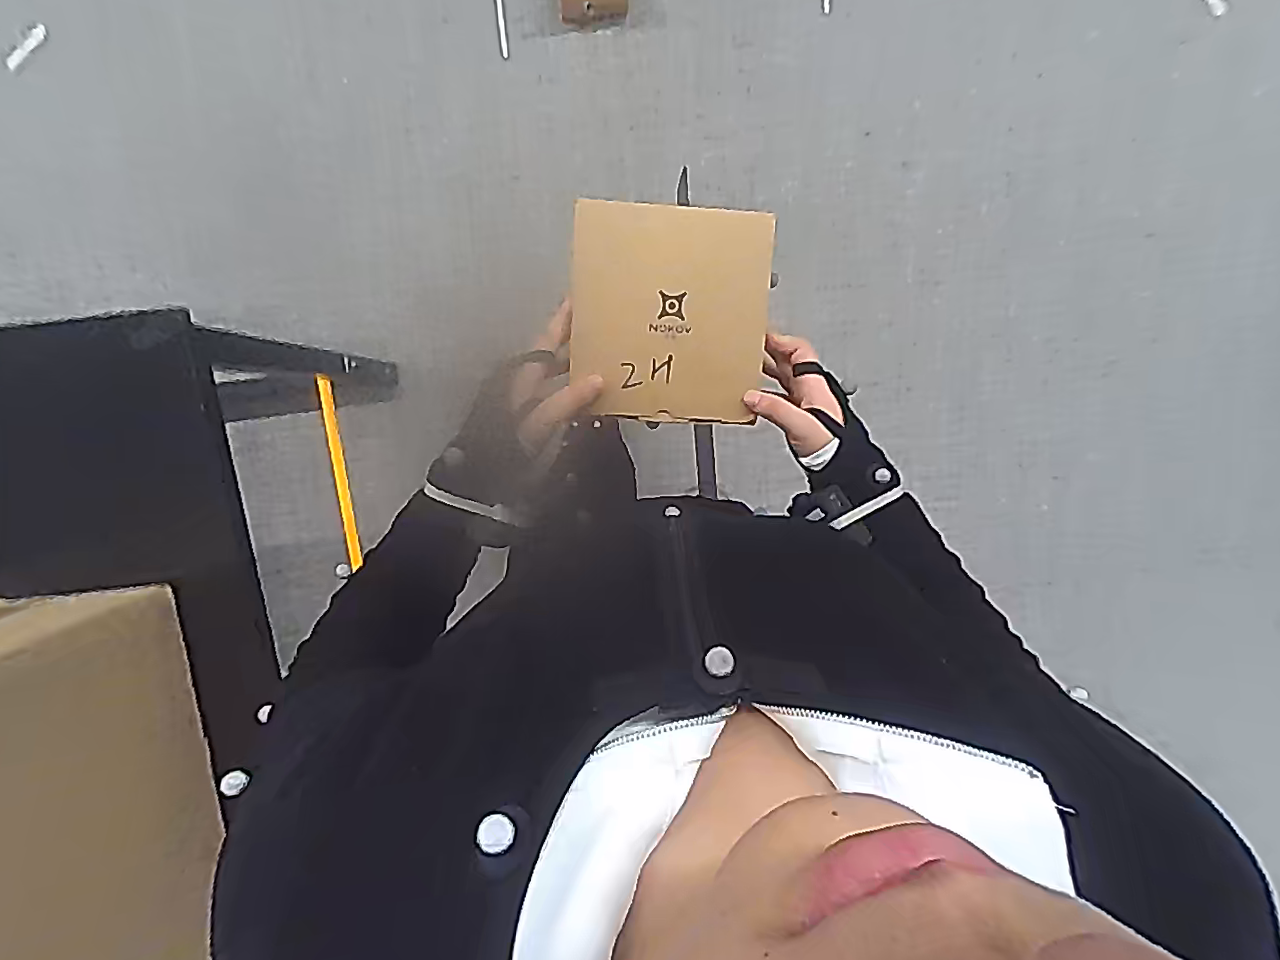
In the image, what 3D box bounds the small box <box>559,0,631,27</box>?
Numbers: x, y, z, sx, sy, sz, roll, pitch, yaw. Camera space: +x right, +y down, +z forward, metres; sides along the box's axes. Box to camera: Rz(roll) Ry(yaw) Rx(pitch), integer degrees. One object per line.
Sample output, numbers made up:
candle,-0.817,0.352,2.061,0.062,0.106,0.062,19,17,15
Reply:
small box,-0.113,-1.183,1.220,0.168,0.176,0.179,-10,99,-1
